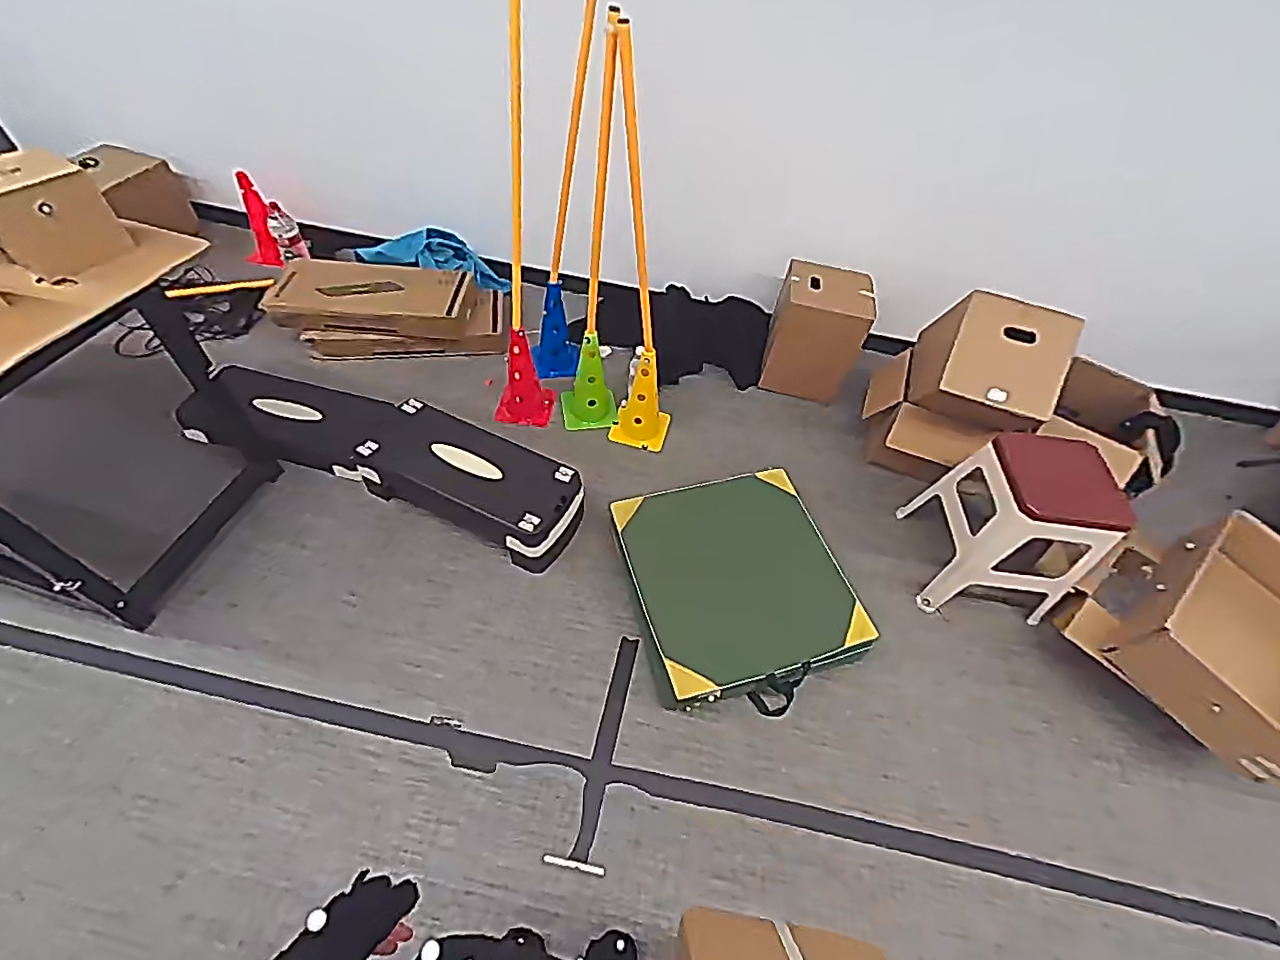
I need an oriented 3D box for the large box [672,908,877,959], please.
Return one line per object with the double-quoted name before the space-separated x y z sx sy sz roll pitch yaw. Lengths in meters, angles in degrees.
"large box" 0.189 0.811 0.634 0.320 0.408 0.320 9 77 1
